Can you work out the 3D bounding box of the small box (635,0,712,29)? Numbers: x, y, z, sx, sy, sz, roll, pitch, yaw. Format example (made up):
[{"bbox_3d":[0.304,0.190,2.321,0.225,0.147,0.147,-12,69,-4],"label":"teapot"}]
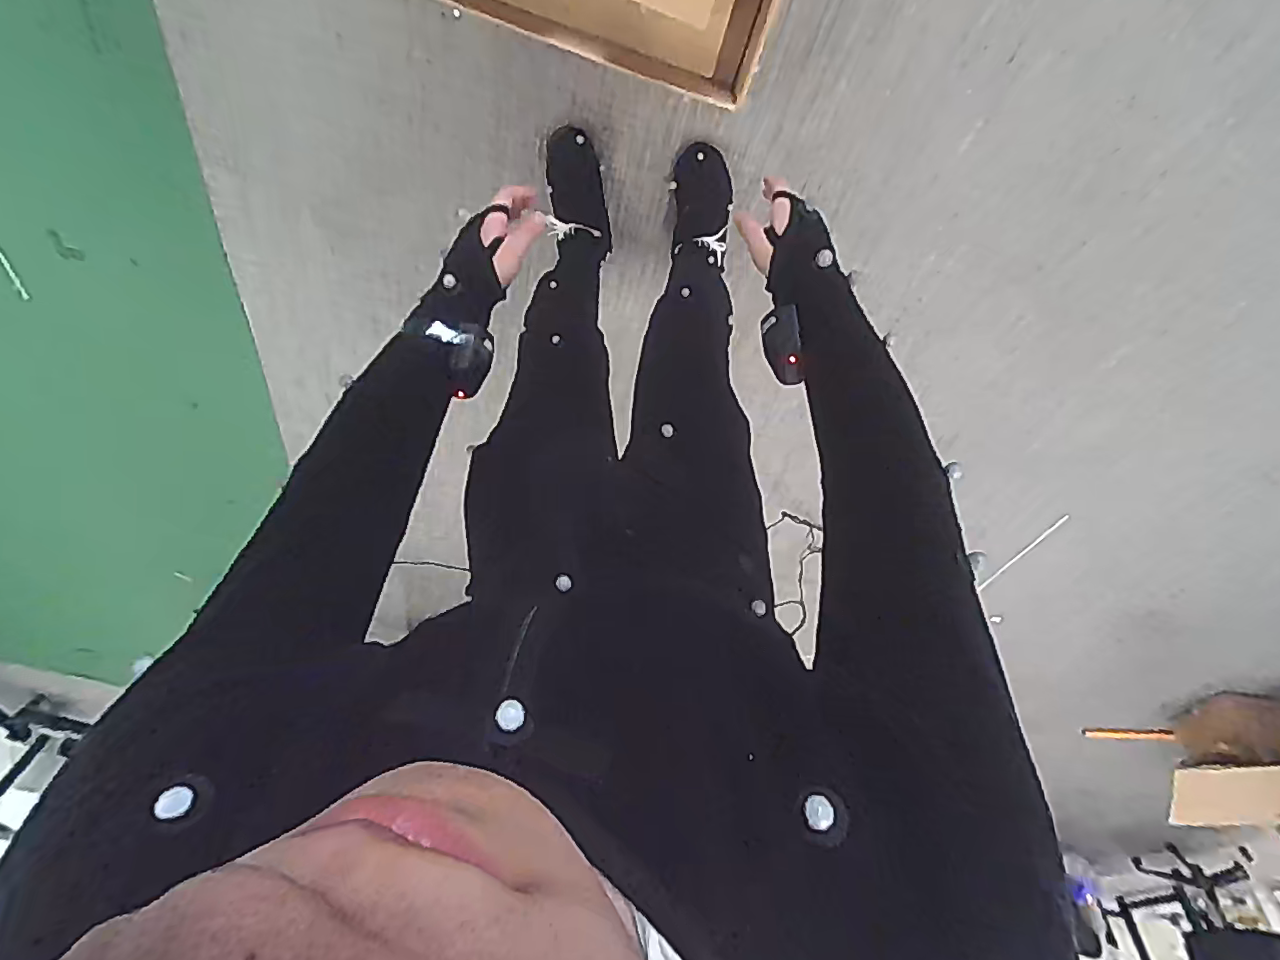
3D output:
[{"bbox_3d":[0.038,-0.715,0.683,0.168,0.176,0.179,18,133,-7],"label":"small box"}]
